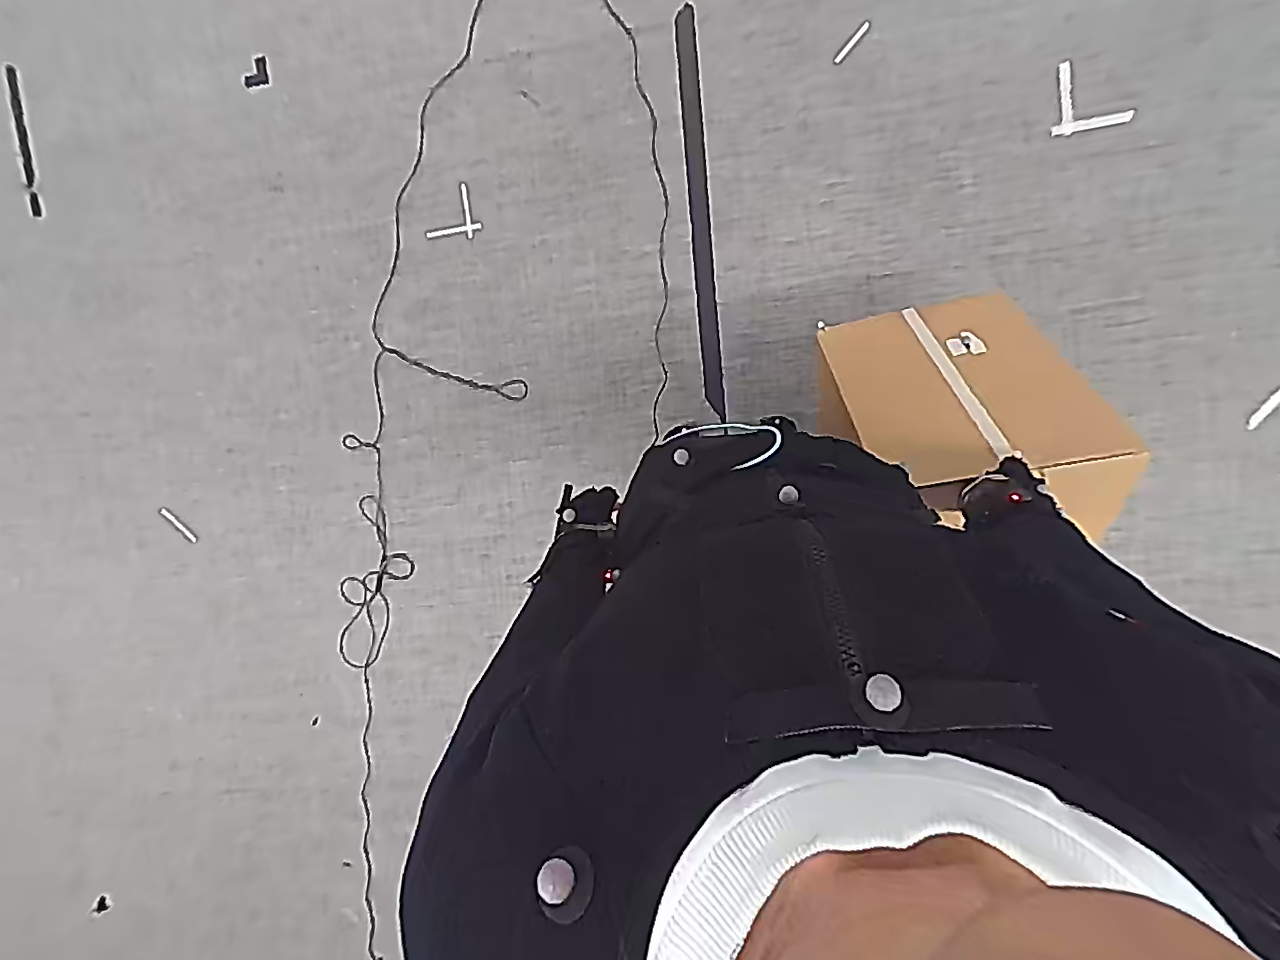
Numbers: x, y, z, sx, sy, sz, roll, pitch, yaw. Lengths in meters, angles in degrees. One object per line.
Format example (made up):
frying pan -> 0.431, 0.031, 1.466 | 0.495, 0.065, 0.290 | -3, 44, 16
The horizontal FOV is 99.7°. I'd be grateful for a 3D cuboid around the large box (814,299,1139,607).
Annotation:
large box -> 0.510, -0.048, 0.935 | 0.320, 0.408, 0.320 | -10, 134, 9
